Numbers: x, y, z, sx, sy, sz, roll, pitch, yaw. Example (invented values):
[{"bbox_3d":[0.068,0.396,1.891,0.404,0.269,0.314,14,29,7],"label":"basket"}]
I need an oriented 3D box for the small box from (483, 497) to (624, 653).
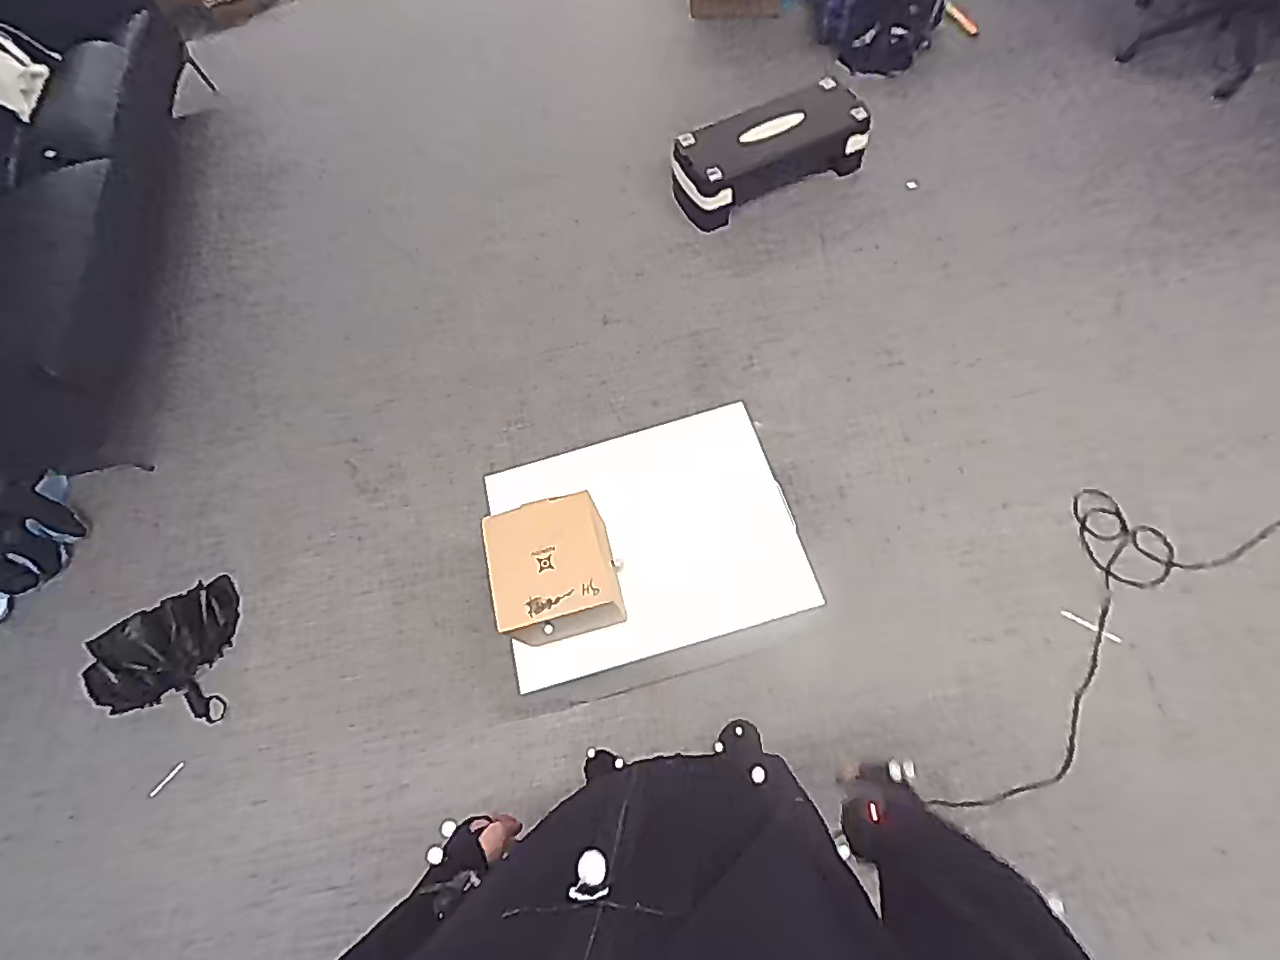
[{"bbox_3d":[-0.130,0.153,0.843,0.168,0.176,0.179,-16,64,-2],"label":"small box"}]
